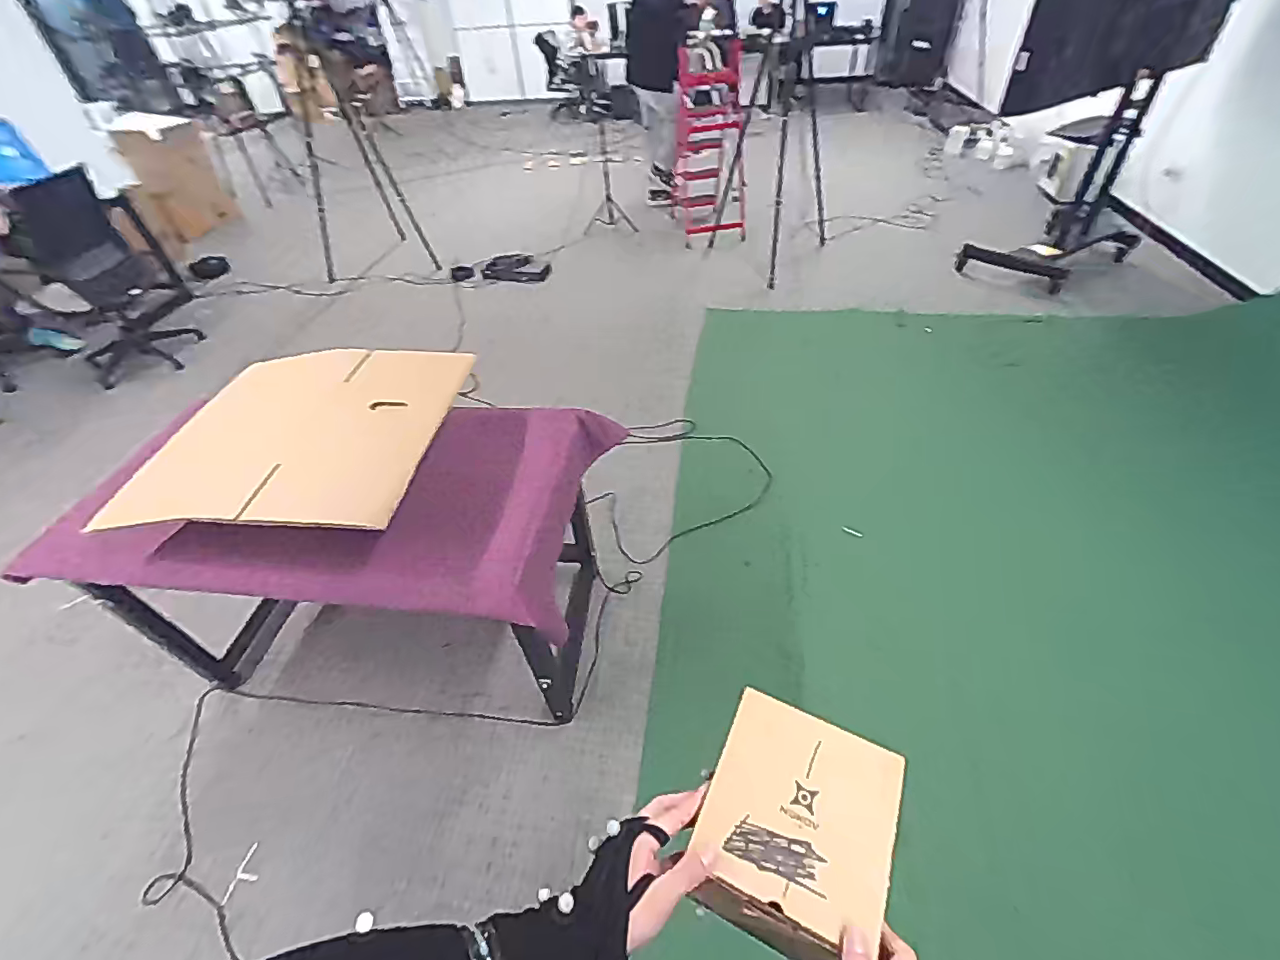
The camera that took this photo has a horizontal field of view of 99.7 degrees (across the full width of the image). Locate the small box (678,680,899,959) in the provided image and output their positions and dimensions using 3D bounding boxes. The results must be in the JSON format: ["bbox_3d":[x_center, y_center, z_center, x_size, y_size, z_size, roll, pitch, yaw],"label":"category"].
[{"bbox_3d":[0.145,0.351,0.559,0.168,0.176,0.179,19,48,17],"label":"small box"}]
